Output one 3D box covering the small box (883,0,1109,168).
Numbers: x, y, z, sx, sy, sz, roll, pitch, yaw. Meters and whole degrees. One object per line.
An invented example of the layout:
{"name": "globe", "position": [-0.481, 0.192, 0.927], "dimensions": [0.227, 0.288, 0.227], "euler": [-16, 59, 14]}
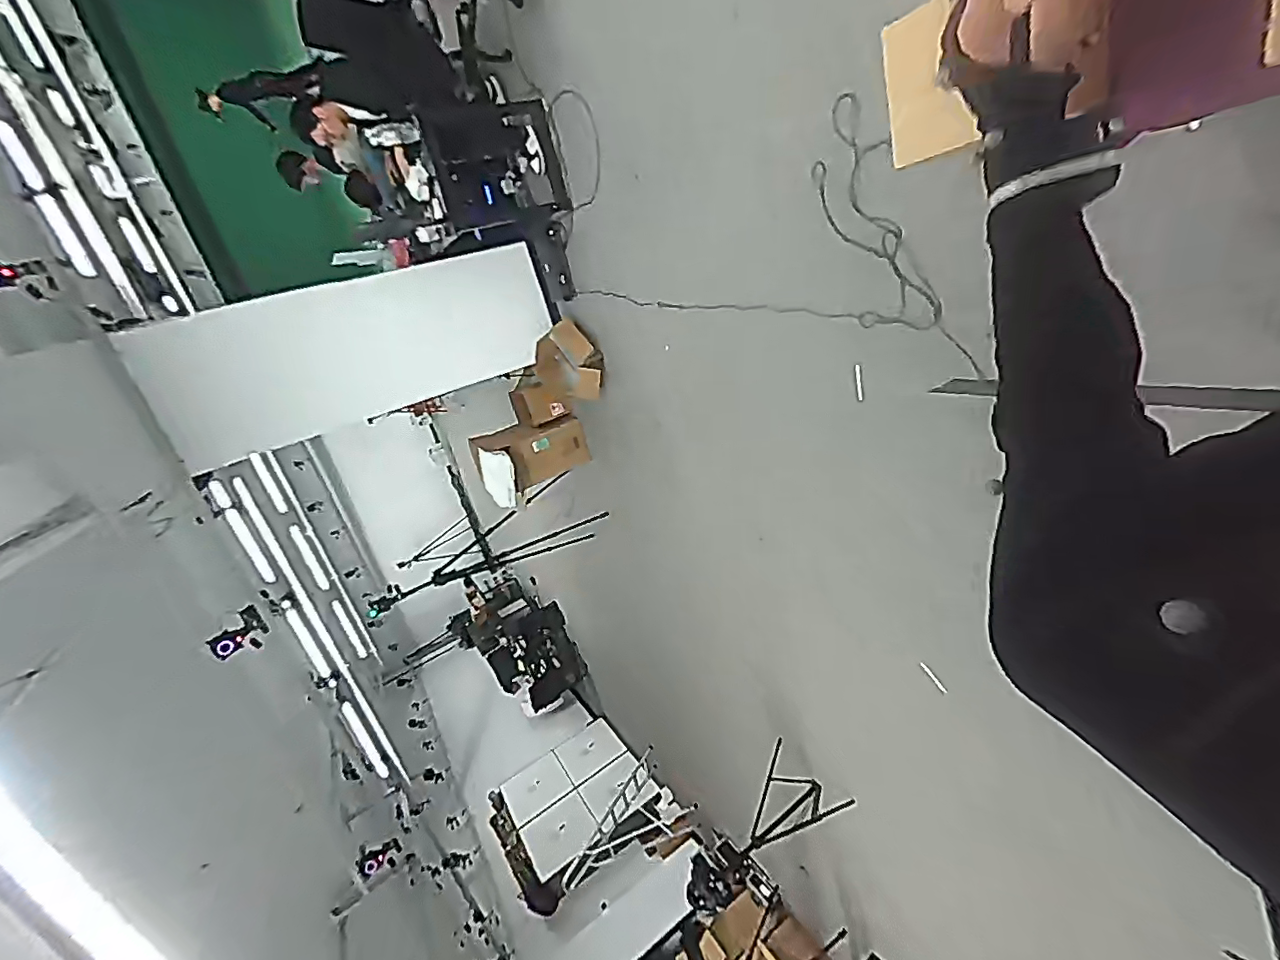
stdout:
{"name": "small box", "position": [0.438, -0.513, 0.672], "dimensions": [0.179, 0.176, 0.168], "euler": [17, 127, 58]}
